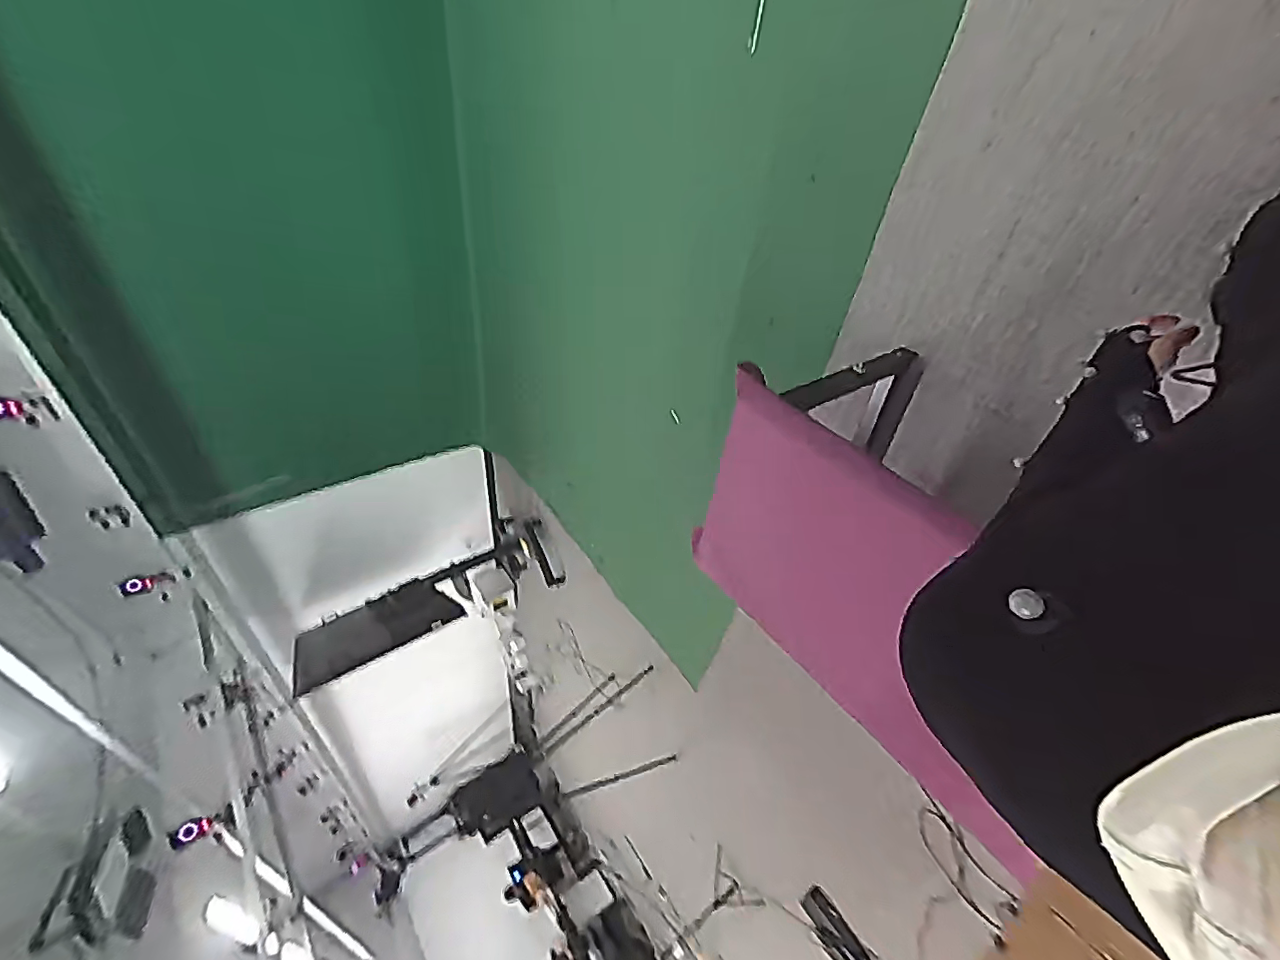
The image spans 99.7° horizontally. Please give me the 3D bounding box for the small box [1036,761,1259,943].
[{"bbox_3d":[0.751,0.568,0.806,0.168,0.176,0.179,40,138,39],"label":"small box"}]

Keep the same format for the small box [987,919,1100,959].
[{"bbox_3d":[0.491,0.676,0.635,0.168,0.176,0.179,41,140,38],"label":"small box"}]

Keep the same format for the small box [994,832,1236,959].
[{"bbox_3d":[0.624,0.623,0.717,0.168,0.176,0.179,39,138,40],"label":"small box"}]
